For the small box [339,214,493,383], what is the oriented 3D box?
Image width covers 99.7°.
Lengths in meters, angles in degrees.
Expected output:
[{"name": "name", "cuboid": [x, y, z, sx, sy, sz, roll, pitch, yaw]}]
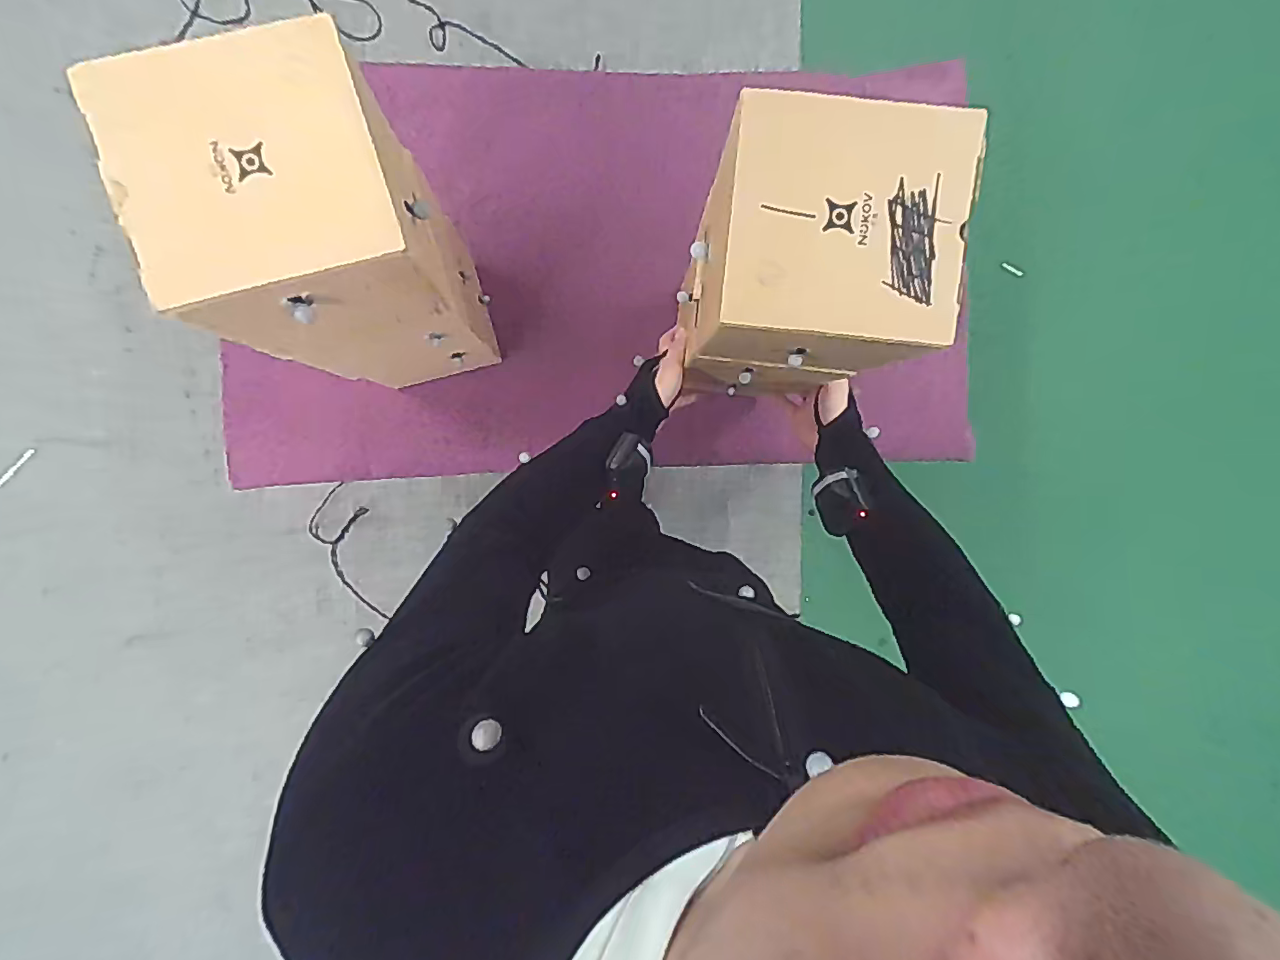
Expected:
[{"name": "small box", "cuboid": [-0.315, -0.243, 0.761, 0.179, 0.176, 0.168, -15, 94, -6]}]

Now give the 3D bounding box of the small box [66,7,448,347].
[{"name": "small box", "cuboid": [-0.270, -0.219, 0.438, 0.179, 0.176, 0.168, -17, 96, -6]}]

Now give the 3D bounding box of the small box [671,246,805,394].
[{"name": "small box", "cuboid": [0.144, -0.222, 0.795, 0.179, 0.176, 0.168, 7, 95, -2]}]

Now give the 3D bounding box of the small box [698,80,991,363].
[{"name": "small box", "cuboid": [0.154, -0.198, 0.468, 0.179, 0.176, 0.168, 5, 95, -1]}]

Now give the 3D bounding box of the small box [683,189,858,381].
[{"name": "small box", "cuboid": [0.148, -0.211, 0.632, 0.179, 0.176, 0.168, 6, 95, -1]}]
